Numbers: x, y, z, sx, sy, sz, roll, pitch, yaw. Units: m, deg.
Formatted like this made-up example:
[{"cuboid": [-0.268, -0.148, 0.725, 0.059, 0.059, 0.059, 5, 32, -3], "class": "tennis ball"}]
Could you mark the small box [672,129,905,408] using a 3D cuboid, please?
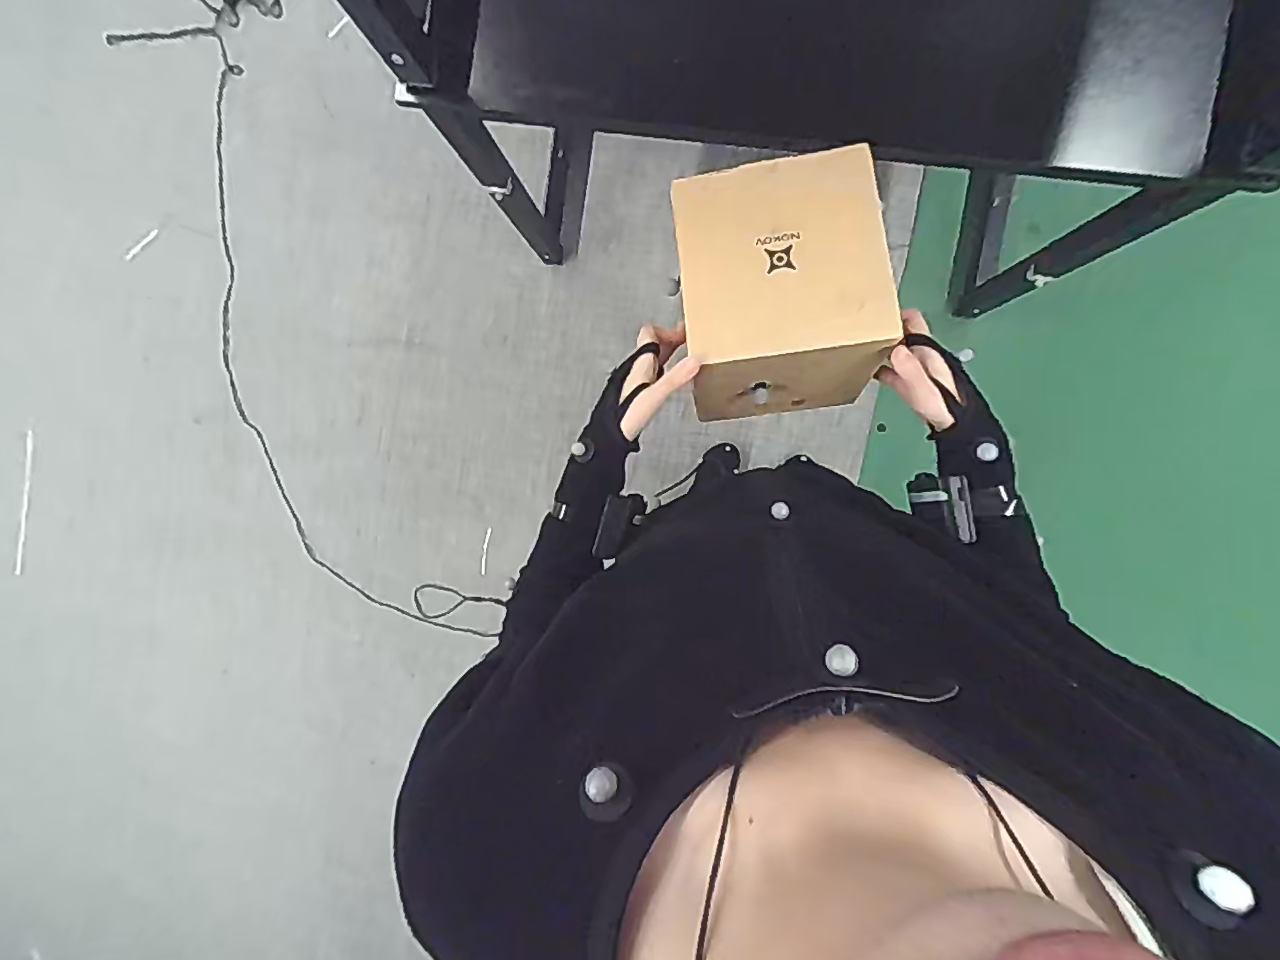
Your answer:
[{"cuboid": [0.127, -0.174, 0.506, 0.168, 0.176, 0.179, -6, 78, 9], "class": "small box"}]
